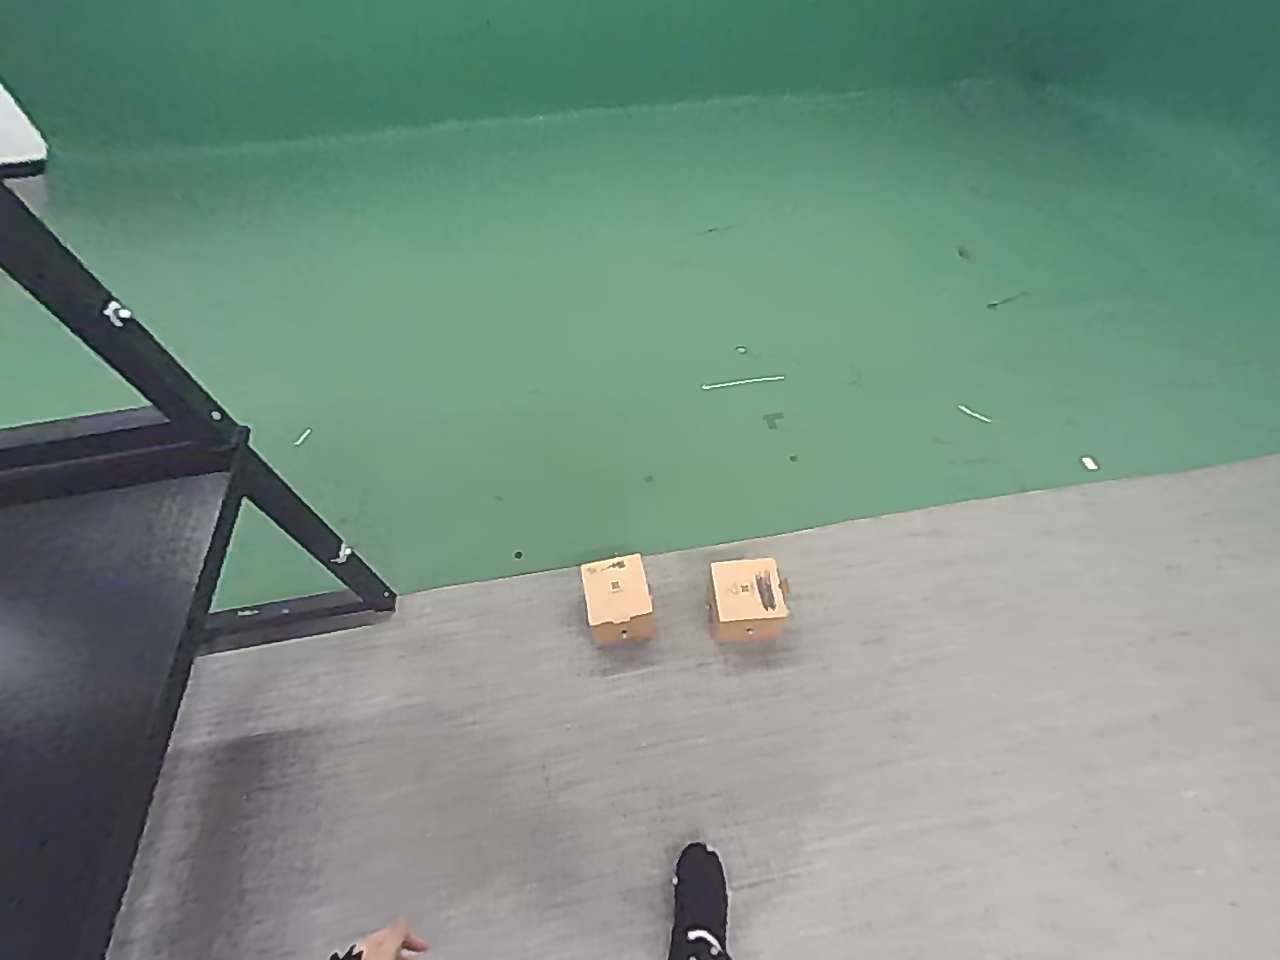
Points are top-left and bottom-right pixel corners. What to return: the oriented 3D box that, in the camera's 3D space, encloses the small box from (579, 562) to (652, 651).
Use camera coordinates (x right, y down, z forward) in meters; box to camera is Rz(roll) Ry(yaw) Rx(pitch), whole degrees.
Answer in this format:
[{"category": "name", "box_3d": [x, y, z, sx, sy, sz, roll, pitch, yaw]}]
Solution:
[{"category": "small box", "box_3d": [-0.063, 0.346, 1.451, 0.168, 0.176, 0.179, -10, 55, -5]}]
